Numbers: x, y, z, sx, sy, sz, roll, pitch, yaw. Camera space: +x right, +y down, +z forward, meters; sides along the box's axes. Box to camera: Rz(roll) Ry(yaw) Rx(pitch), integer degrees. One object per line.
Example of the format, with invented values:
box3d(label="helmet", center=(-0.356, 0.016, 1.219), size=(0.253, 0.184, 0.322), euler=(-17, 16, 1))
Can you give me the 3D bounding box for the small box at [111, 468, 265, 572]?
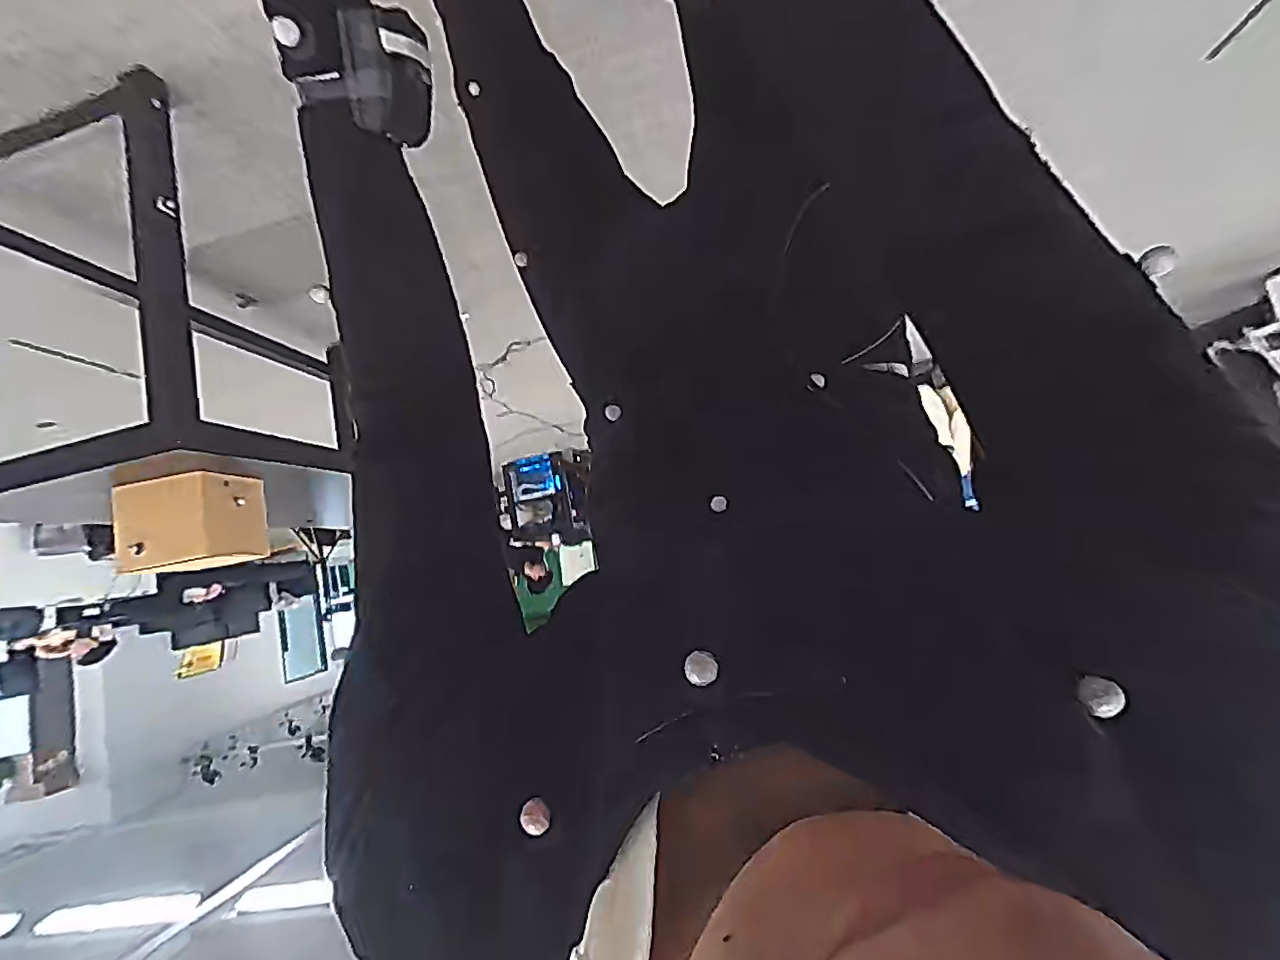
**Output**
box3d(label="small box", center=(-0.891, 0.080, 1.074), size=(0.179, 0.176, 0.168), euler=(-11, 174, 1))
